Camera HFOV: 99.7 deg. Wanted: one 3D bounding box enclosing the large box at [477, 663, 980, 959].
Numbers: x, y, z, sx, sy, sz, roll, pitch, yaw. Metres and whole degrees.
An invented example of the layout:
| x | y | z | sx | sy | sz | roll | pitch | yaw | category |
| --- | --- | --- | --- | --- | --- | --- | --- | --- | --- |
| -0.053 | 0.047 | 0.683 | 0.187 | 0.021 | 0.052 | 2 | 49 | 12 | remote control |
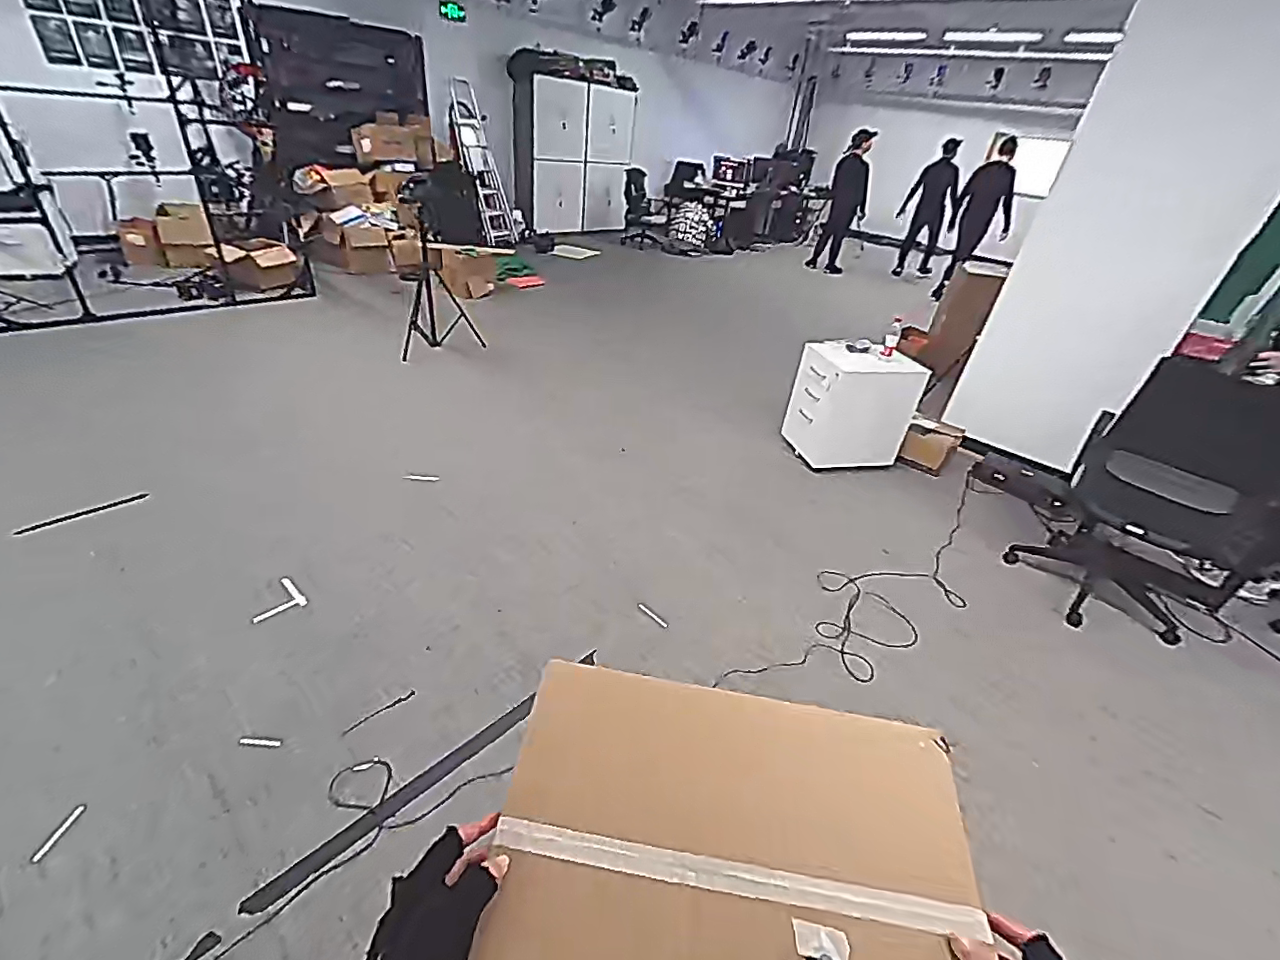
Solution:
| x | y | z | sx | sy | sz | roll | pitch | yaw | category |
| --- | --- | --- | --- | --- | --- | --- | --- | --- | --- |
| 0.070 | 0.435 | 0.574 | 0.408 | 0.320 | 0.320 | 9 | 46 | 3 | large box |
